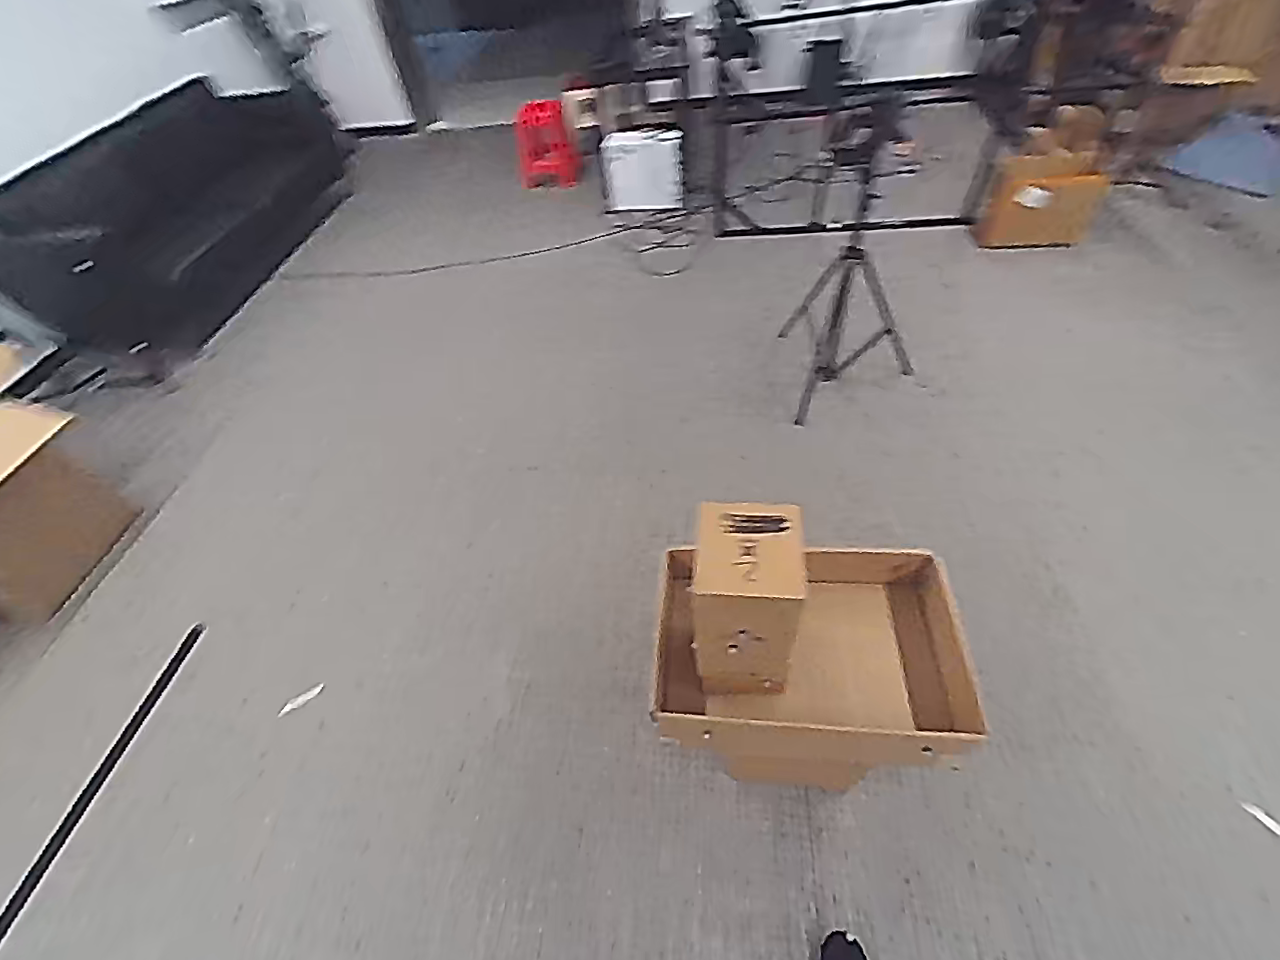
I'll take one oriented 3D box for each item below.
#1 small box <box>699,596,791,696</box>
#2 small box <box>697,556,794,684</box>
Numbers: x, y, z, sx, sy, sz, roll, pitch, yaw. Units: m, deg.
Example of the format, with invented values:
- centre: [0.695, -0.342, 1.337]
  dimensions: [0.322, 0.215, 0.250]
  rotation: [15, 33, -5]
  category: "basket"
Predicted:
- centre: [0.219, 0.357, 1.168]
  dimensions: [0.179, 0.176, 0.168]
  rotation: [-4, 48, 6]
  category: "small box"
- centre: [0.197, 0.266, 1.033]
  dimensions: [0.168, 0.176, 0.179]
  rotation: [1, 49, 9]
  category: "small box"
